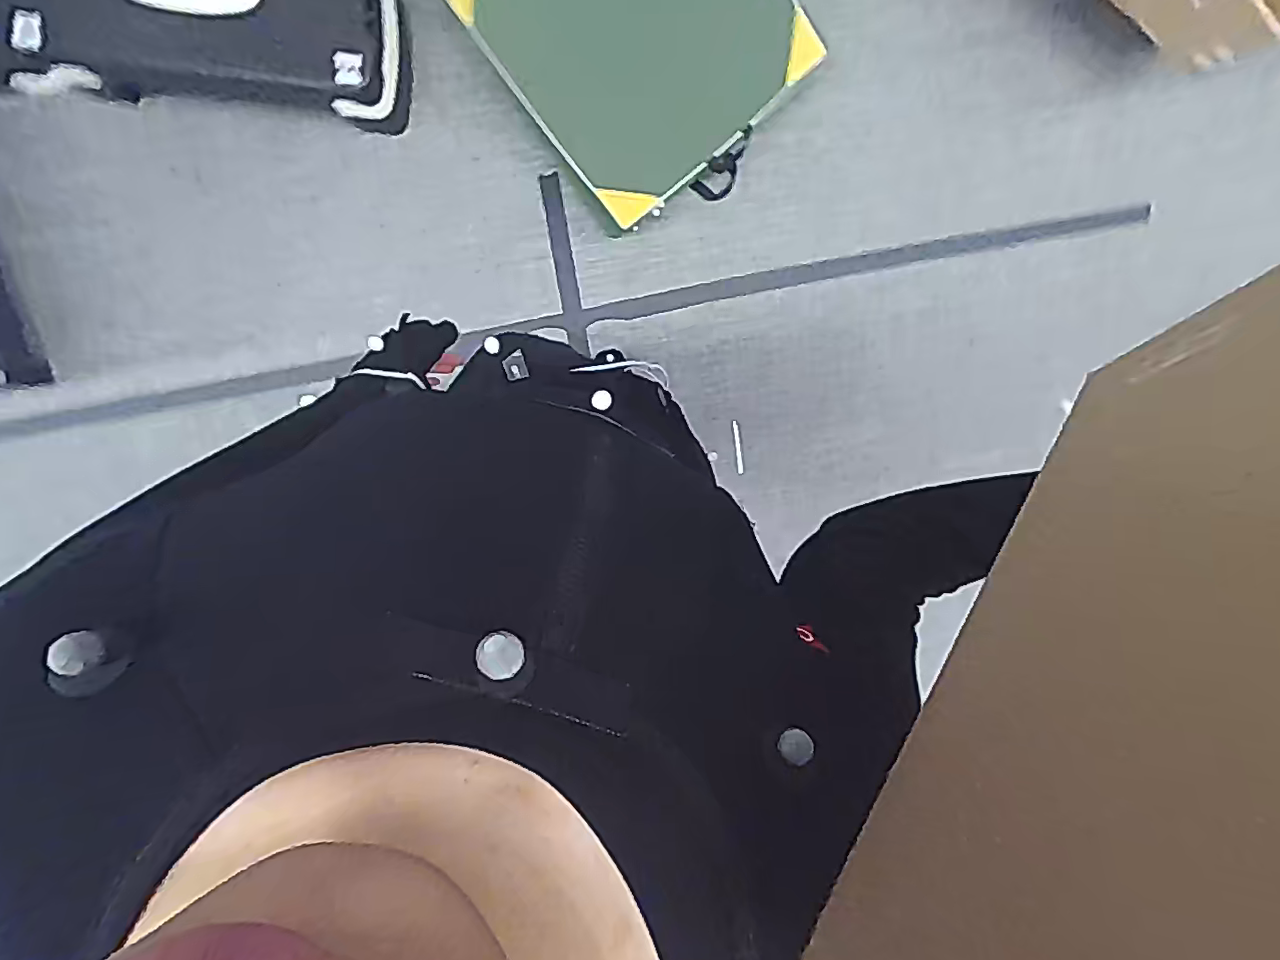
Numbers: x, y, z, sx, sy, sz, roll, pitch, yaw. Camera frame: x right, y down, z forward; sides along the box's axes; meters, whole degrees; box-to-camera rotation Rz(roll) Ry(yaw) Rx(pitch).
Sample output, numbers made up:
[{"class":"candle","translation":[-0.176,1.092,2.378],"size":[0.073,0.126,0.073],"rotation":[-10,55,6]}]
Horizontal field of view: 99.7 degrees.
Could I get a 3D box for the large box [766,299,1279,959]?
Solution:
[{"class":"large box","translation":[0.316,0.086,0.113],"size":[0.408,0.320,0.320],"rotation":[-34,83,-35]}]
